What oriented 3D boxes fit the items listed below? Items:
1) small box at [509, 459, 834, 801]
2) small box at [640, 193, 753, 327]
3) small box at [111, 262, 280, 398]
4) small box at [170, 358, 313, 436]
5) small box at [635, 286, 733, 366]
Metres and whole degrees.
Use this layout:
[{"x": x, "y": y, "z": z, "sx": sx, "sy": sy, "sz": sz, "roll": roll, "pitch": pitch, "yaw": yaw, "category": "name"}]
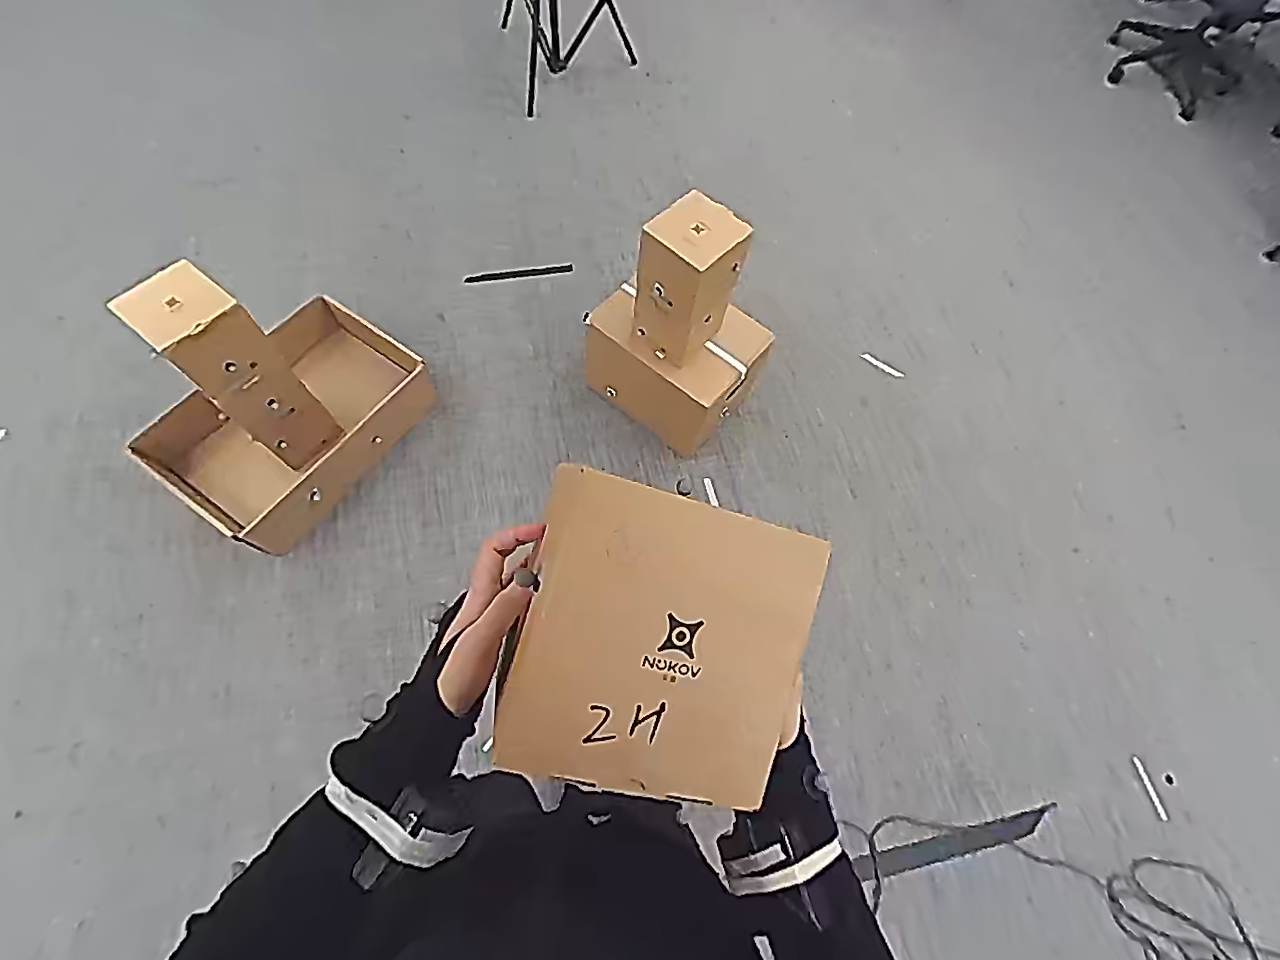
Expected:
[{"x": 0.005, "y": 0.091, "z": 0.397, "sx": 0.168, "sy": 0.176, "sz": 0.179, "roll": 17, "pitch": 87, "yaw": -14, "category": "small box"}, {"x": 0.114, "y": -0.477, "z": 1.185, "sx": 0.168, "sy": 0.176, "sz": 0.179, "roll": 41, "pitch": 70, "yaw": 13, "category": "small box"}, {"x": -0.905, "y": -0.303, "z": 1.119, "sx": 0.179, "sy": 0.176, "sz": 0.168, "roll": 36, "pitch": 67, "yaw": 11, "category": "small box"}, {"x": -0.916, "y": -0.227, "z": 1.263, "sx": 0.179, "sy": 0.176, "sz": 0.168, "roll": 37, "pitch": 67, "yaw": 11, "category": "small box"}, {"x": 0.100, "y": -0.418, "z": 1.335, "sx": 0.168, "sy": 0.176, "sz": 0.179, "roll": 39, "pitch": 68, "yaw": 11, "category": "small box"}]
